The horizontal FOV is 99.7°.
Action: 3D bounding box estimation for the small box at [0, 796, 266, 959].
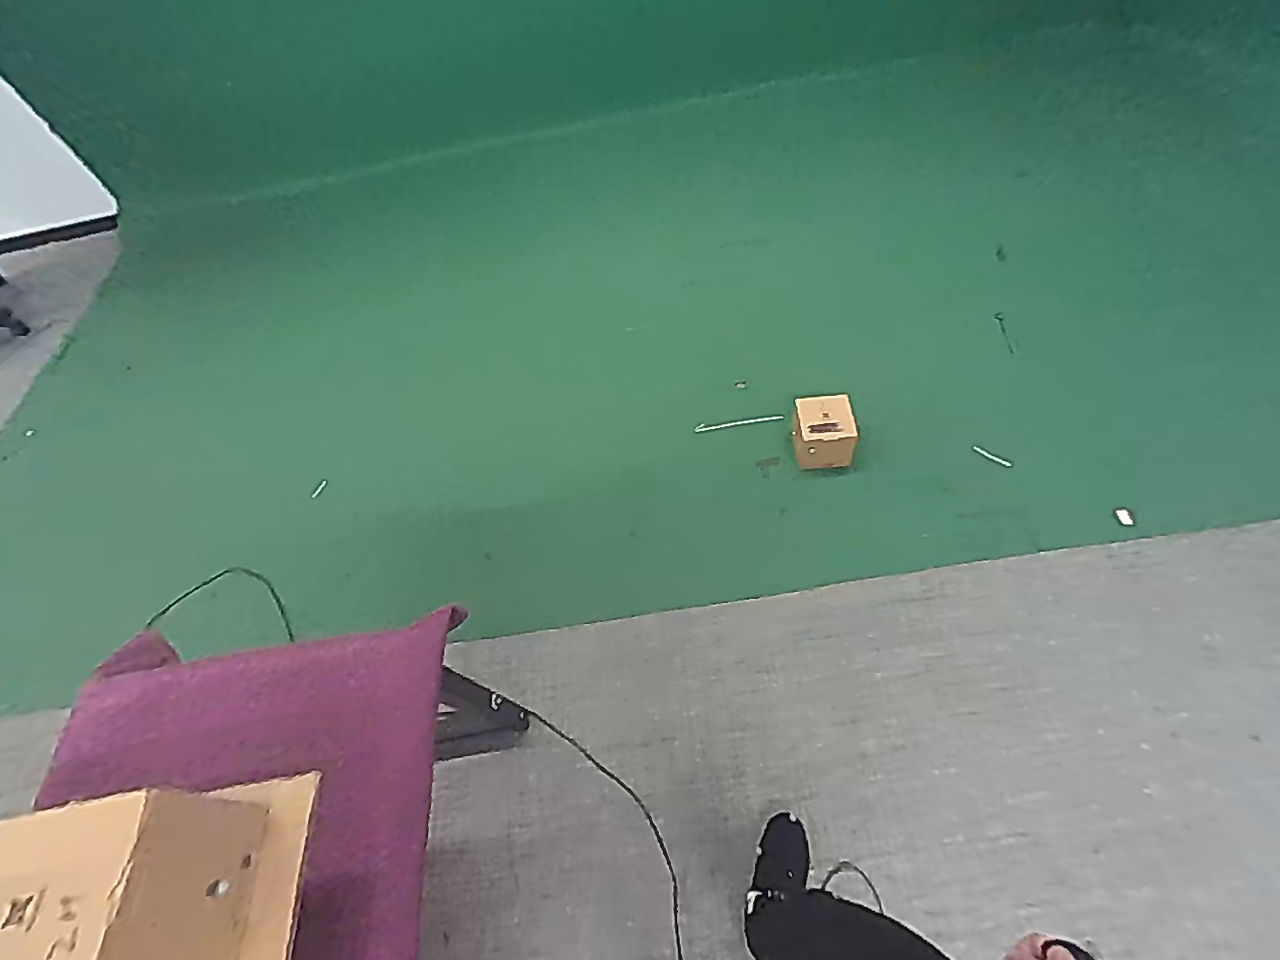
[{"bbox_3d":[-0.532,0.433,0.543,0.179,0.176,0.168,-12,54,1],"label":"small box"}]
